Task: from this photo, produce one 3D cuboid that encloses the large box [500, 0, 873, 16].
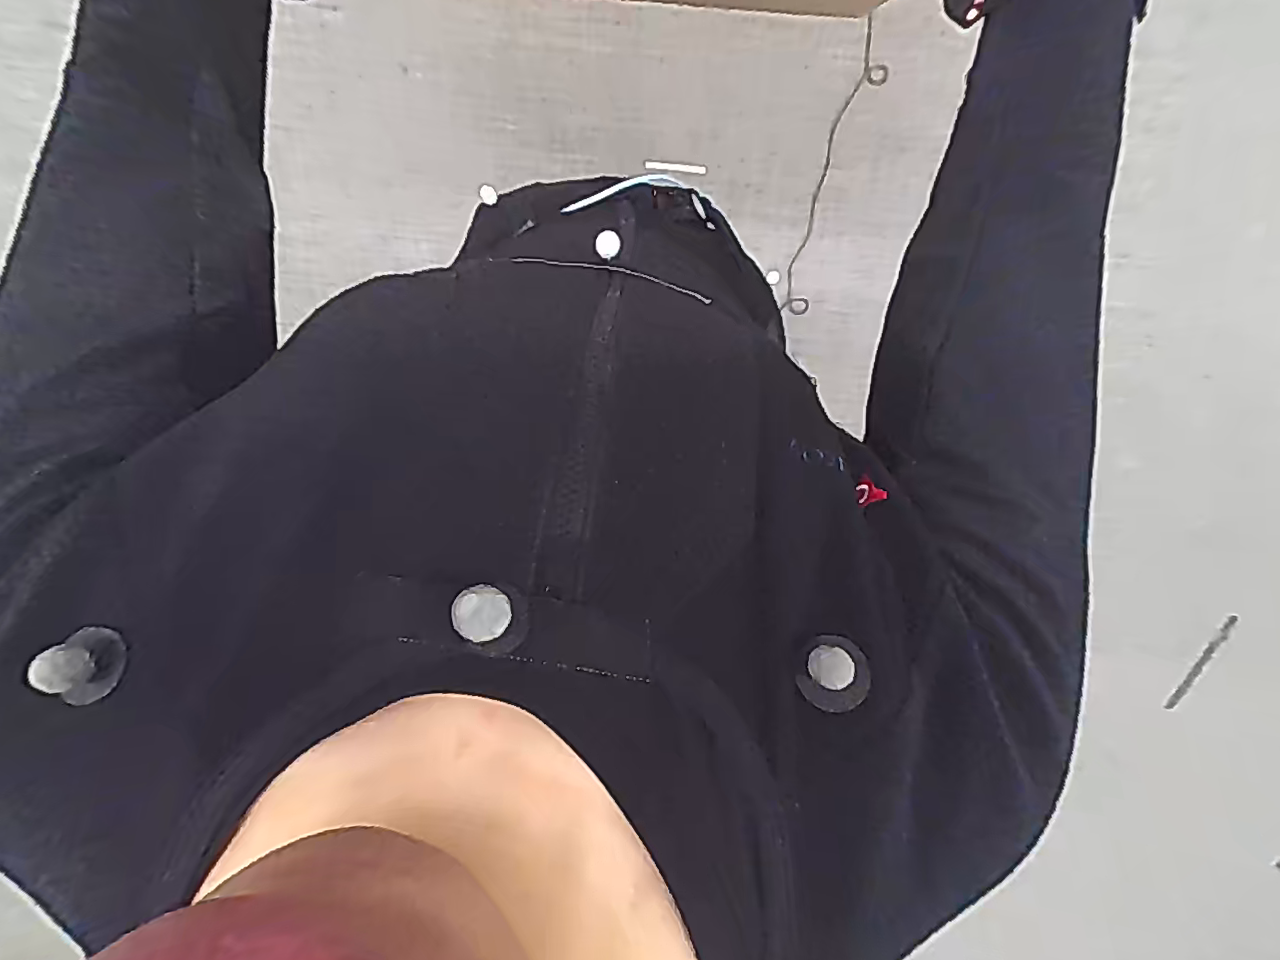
[{"bbox_3d":[0.032,-0.555,0.374,0.408,0.320,0.320,5,124,1],"label":"large box"}]
